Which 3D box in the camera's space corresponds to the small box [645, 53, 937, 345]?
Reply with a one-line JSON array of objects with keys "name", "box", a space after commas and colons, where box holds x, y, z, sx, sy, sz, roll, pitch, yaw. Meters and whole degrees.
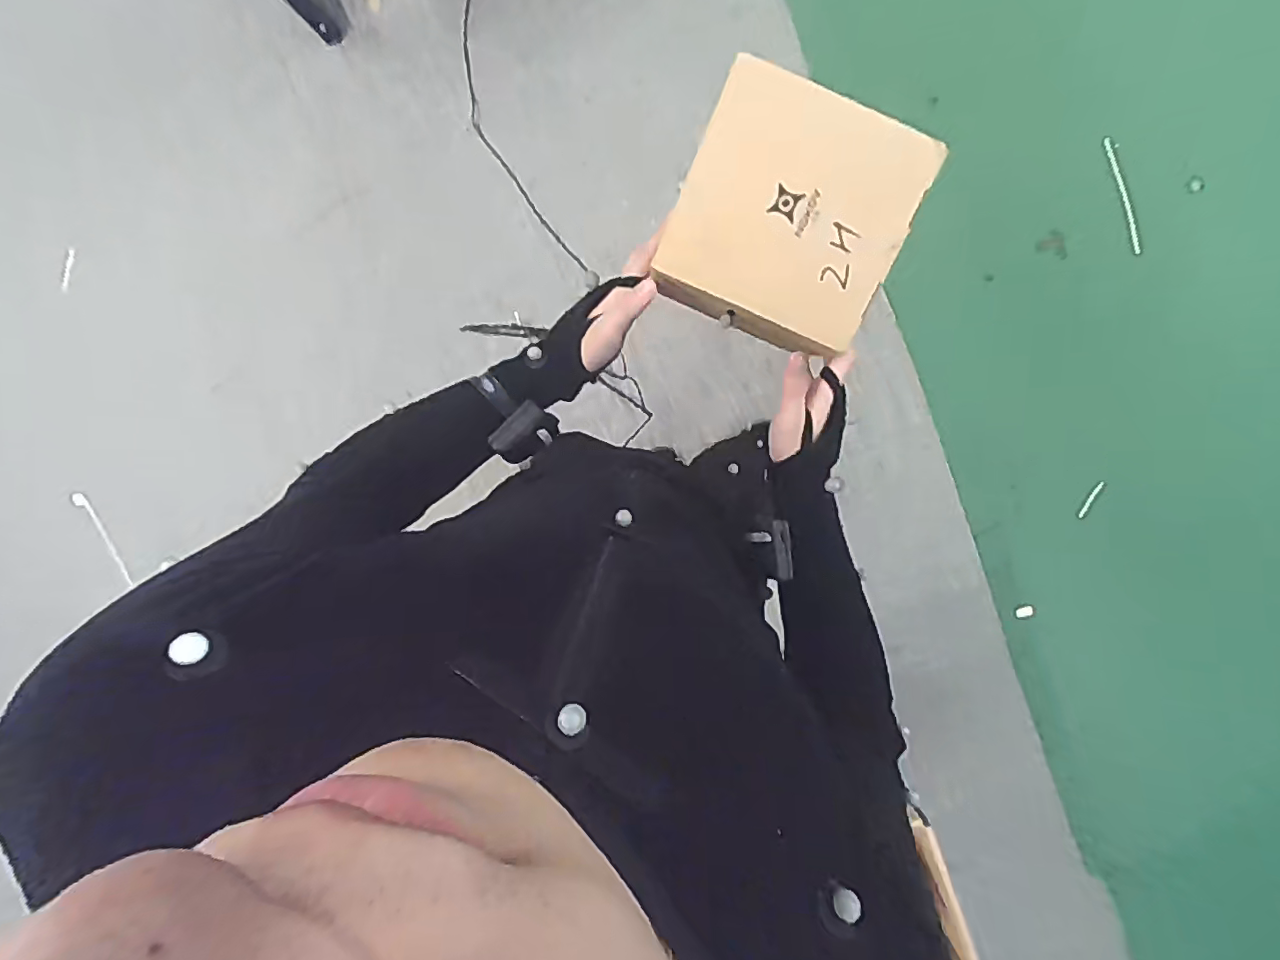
[{"name": "small box", "box": [0.118, -0.230, 0.498, 0.179, 0.176, 0.168, 23, 103, -2]}]
